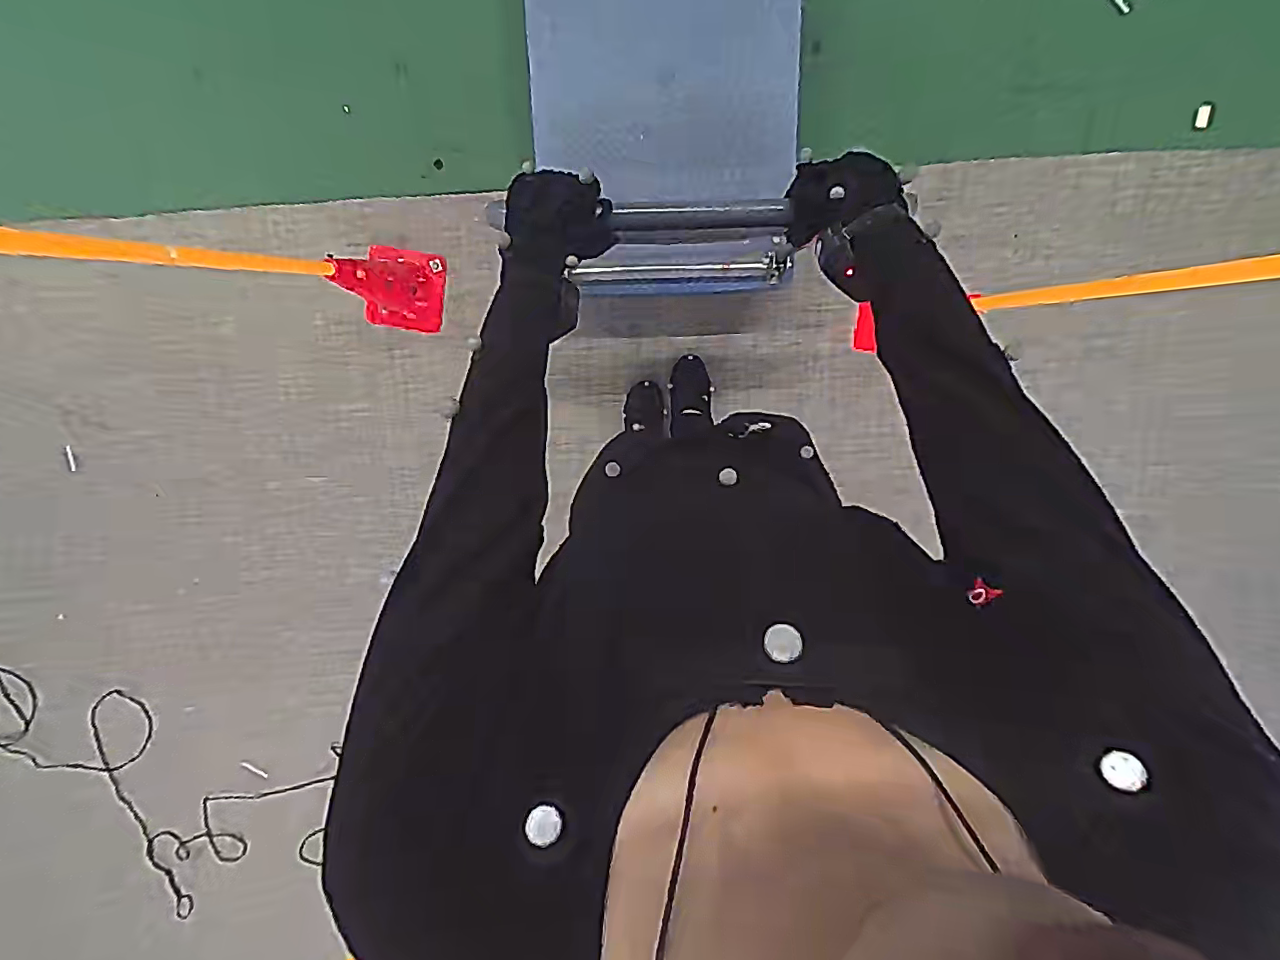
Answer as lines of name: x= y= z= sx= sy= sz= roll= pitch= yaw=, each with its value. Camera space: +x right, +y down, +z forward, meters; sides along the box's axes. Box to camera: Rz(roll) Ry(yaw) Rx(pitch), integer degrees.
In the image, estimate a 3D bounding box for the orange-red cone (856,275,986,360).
orange-red cone: x=0.677 y=-0.386 z=1.250 sx=0.198 sy=0.360 sz=0.199 roll=8 pitch=103 yaw=-1
